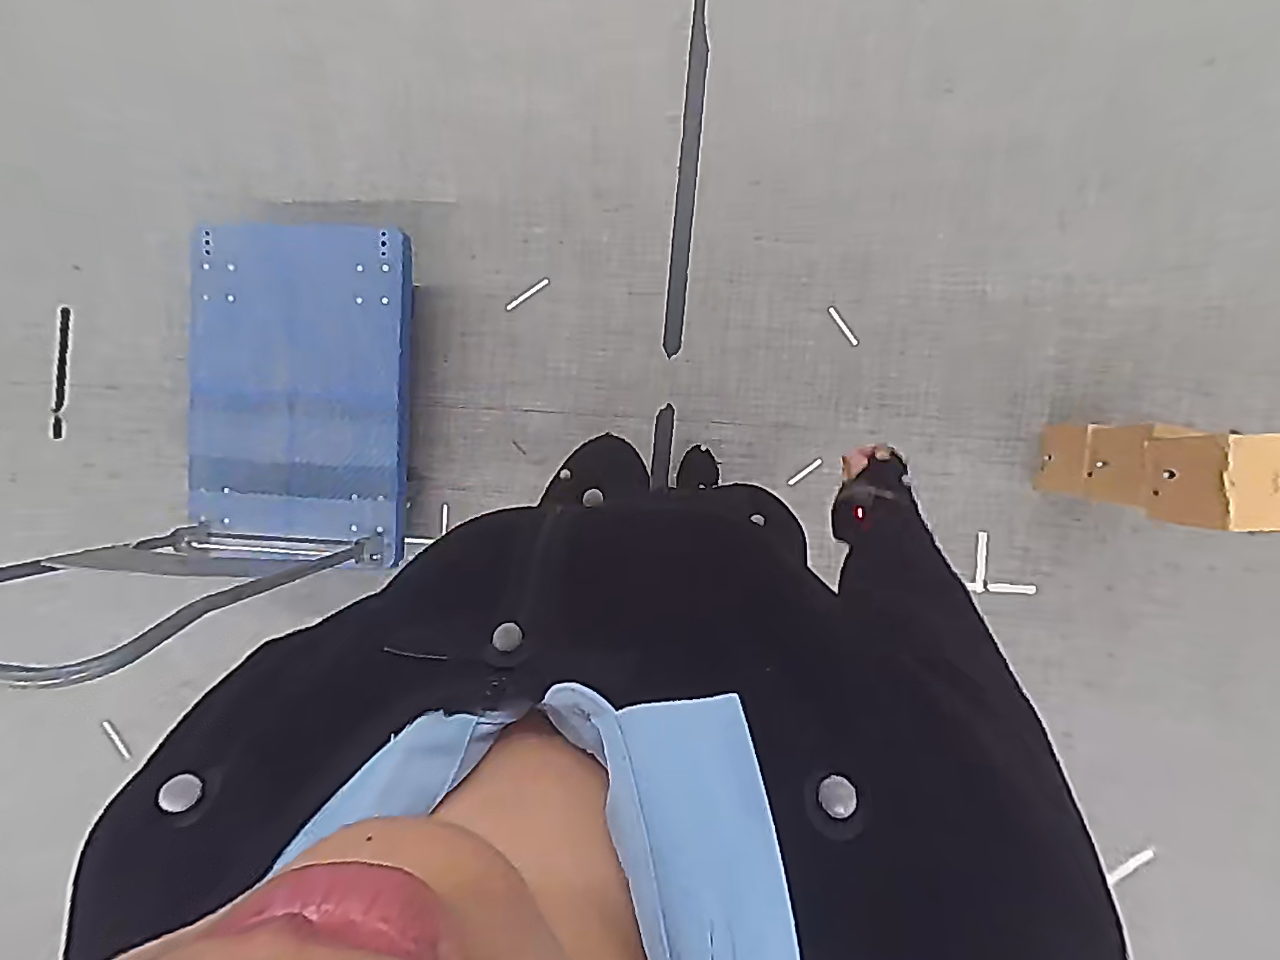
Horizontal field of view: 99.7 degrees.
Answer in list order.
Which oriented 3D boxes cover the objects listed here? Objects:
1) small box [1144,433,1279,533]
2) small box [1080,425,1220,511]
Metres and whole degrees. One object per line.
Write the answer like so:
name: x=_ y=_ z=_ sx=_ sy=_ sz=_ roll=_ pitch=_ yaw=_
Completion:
small box: x=1.074 y=0.001 z=0.978 sx=0.179 sy=0.176 sz=0.168 roll=-3 pitch=92 yaw=6
small box: x=1.090 y=-0.018 z=1.139 sx=0.179 sy=0.176 sz=0.168 roll=9 pitch=92 yaw=6
